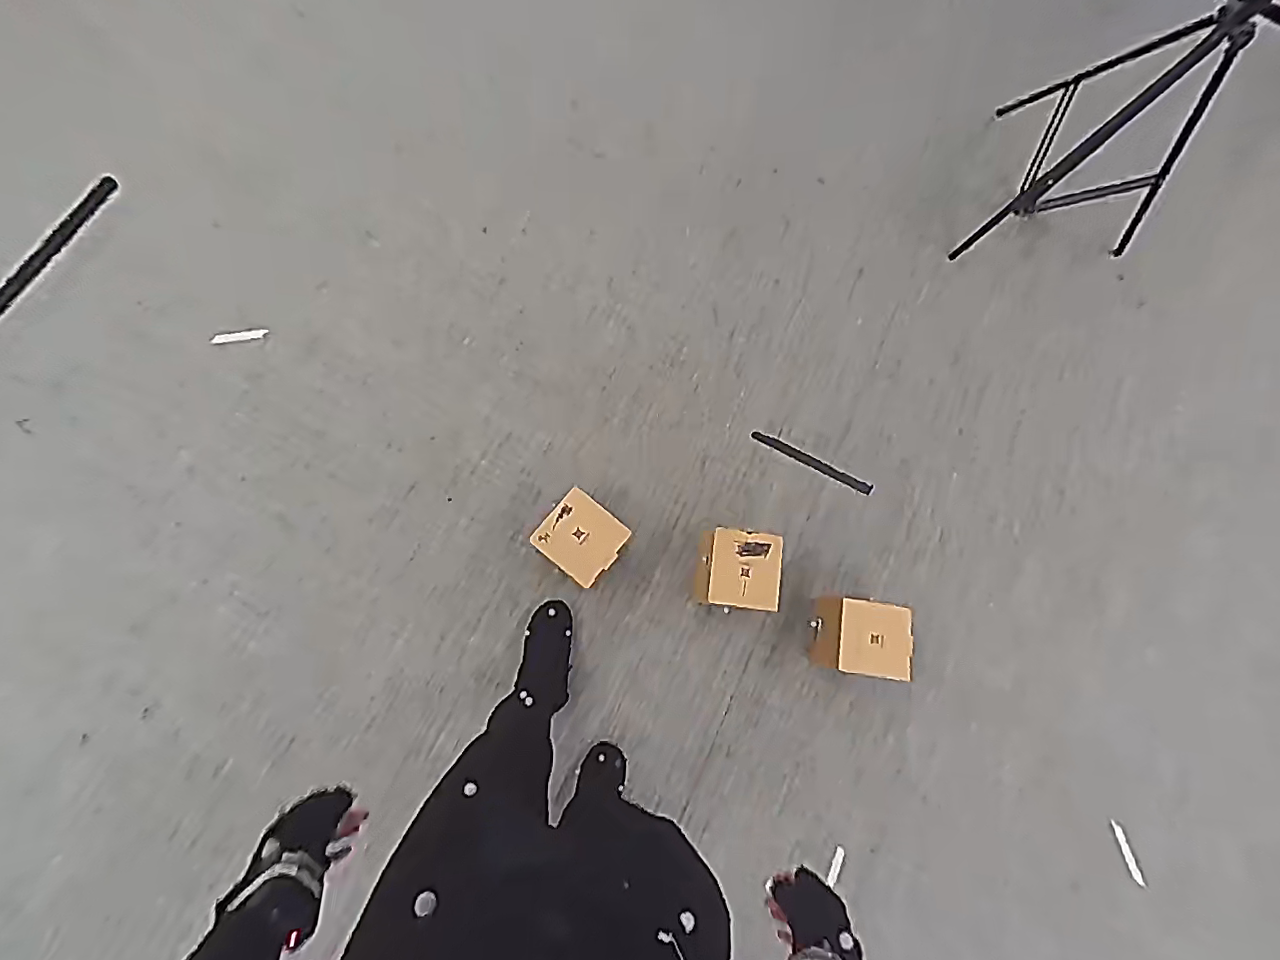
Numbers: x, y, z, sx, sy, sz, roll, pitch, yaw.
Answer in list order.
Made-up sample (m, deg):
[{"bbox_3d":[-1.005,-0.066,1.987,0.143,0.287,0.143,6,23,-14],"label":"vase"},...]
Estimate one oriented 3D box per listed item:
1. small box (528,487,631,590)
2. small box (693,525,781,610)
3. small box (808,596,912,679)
[{"bbox_3d":[-0.143,0.144,1.292,0.179,0.176,0.168,39,77,3],"label":"small box"},{"bbox_3d":[0.231,0.215,1.315,0.168,0.176,0.179,8,78,-4],"label":"small box"},{"bbox_3d":[0.531,0.376,1.317,0.179,0.176,0.168,9,77,-4],"label":"small box"}]
